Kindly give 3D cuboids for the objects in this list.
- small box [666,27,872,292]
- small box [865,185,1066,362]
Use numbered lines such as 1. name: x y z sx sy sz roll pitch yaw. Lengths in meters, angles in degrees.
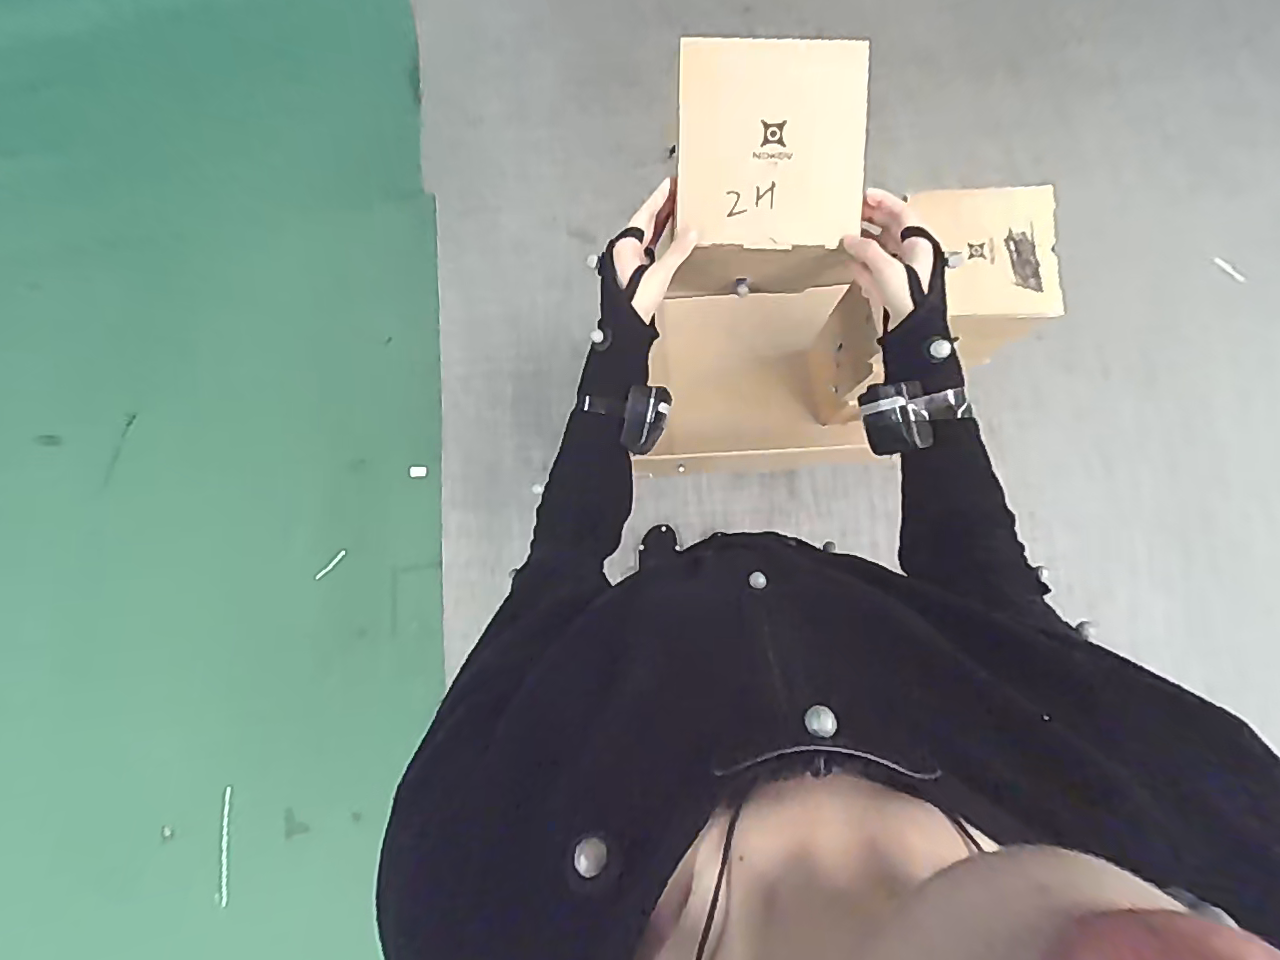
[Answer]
1. small box: 0.114 -0.304 0.547 0.168 0.176 0.179 1 96 0
2. small box: 0.420 -0.265 0.725 0.179 0.176 0.168 0 83 5
